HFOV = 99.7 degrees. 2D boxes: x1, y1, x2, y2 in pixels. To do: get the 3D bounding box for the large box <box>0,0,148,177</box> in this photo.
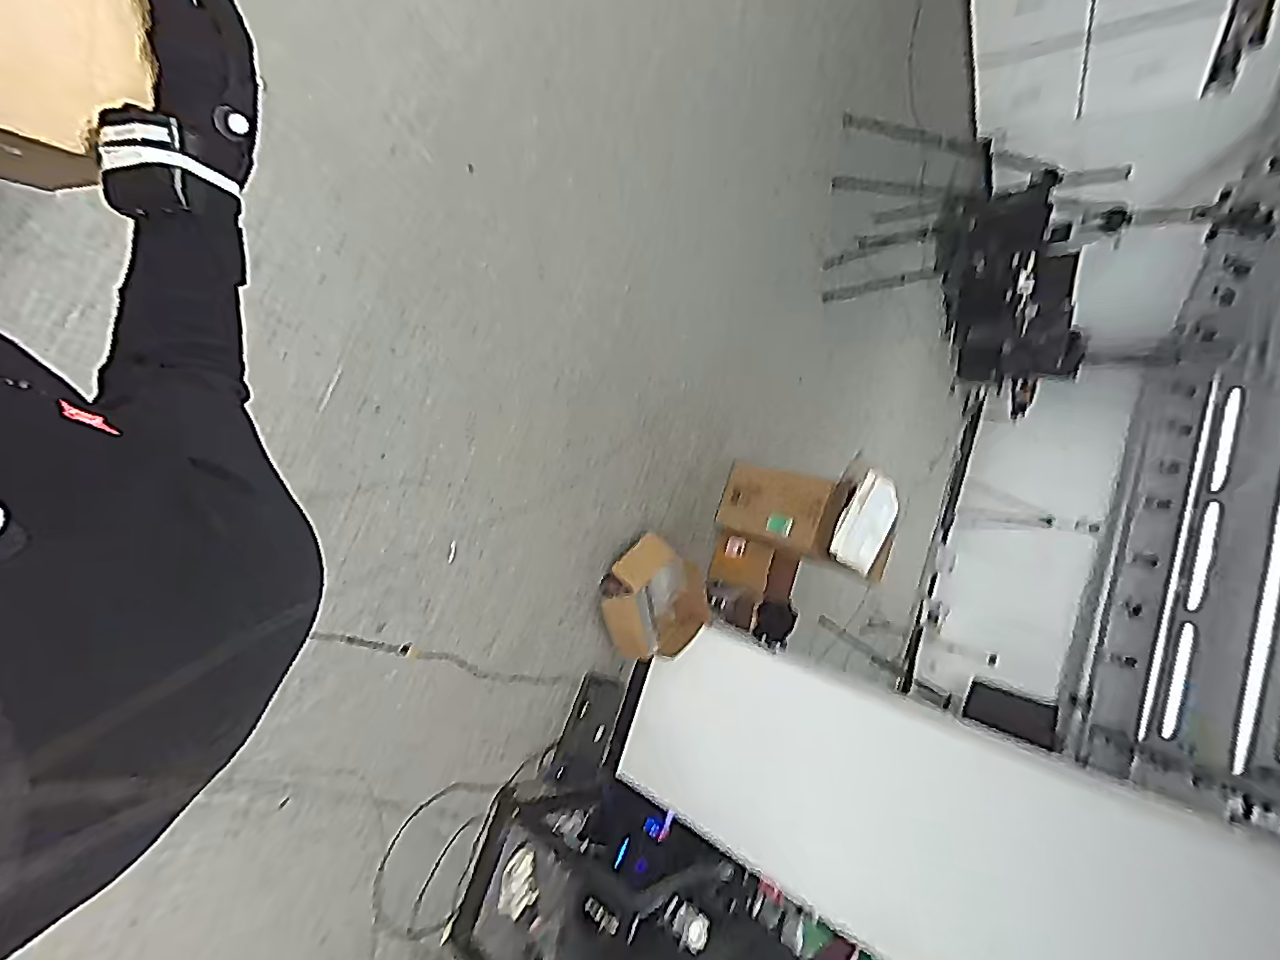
[{"bbox_3d":[-0.583,-0.407,0.290,0.408,0.320,0.320,-8,111,-58],"label":"large box"}]
